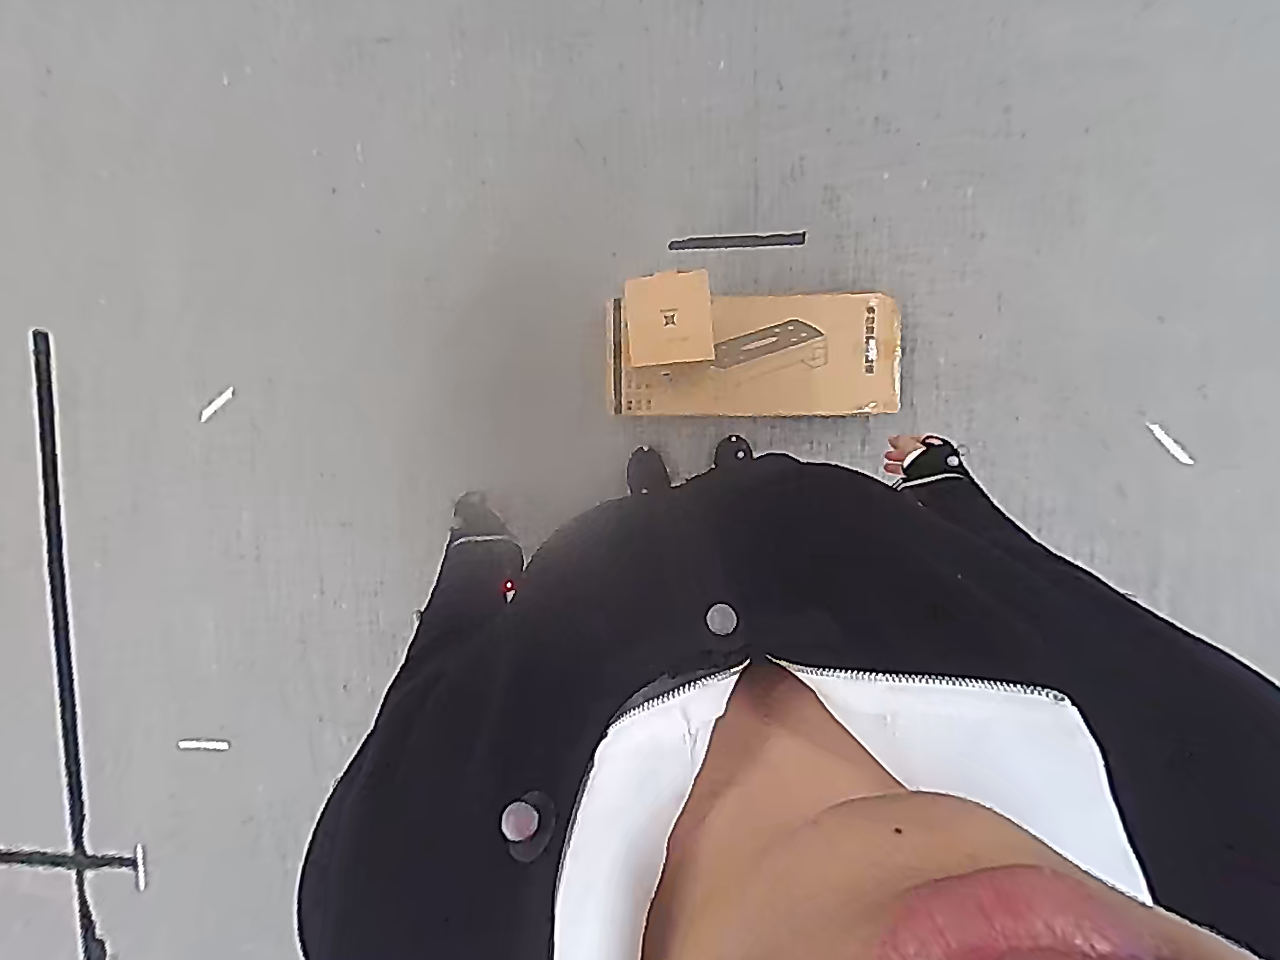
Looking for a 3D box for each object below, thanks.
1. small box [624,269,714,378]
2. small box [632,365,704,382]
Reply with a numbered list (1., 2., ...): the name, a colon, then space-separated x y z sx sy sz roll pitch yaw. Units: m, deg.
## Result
1. small box: 0.058 -0.318 1.126 0.168 0.176 0.179 -6 94 3
2. small box: 0.069 -0.328 1.289 0.168 0.176 0.179 1 94 2
